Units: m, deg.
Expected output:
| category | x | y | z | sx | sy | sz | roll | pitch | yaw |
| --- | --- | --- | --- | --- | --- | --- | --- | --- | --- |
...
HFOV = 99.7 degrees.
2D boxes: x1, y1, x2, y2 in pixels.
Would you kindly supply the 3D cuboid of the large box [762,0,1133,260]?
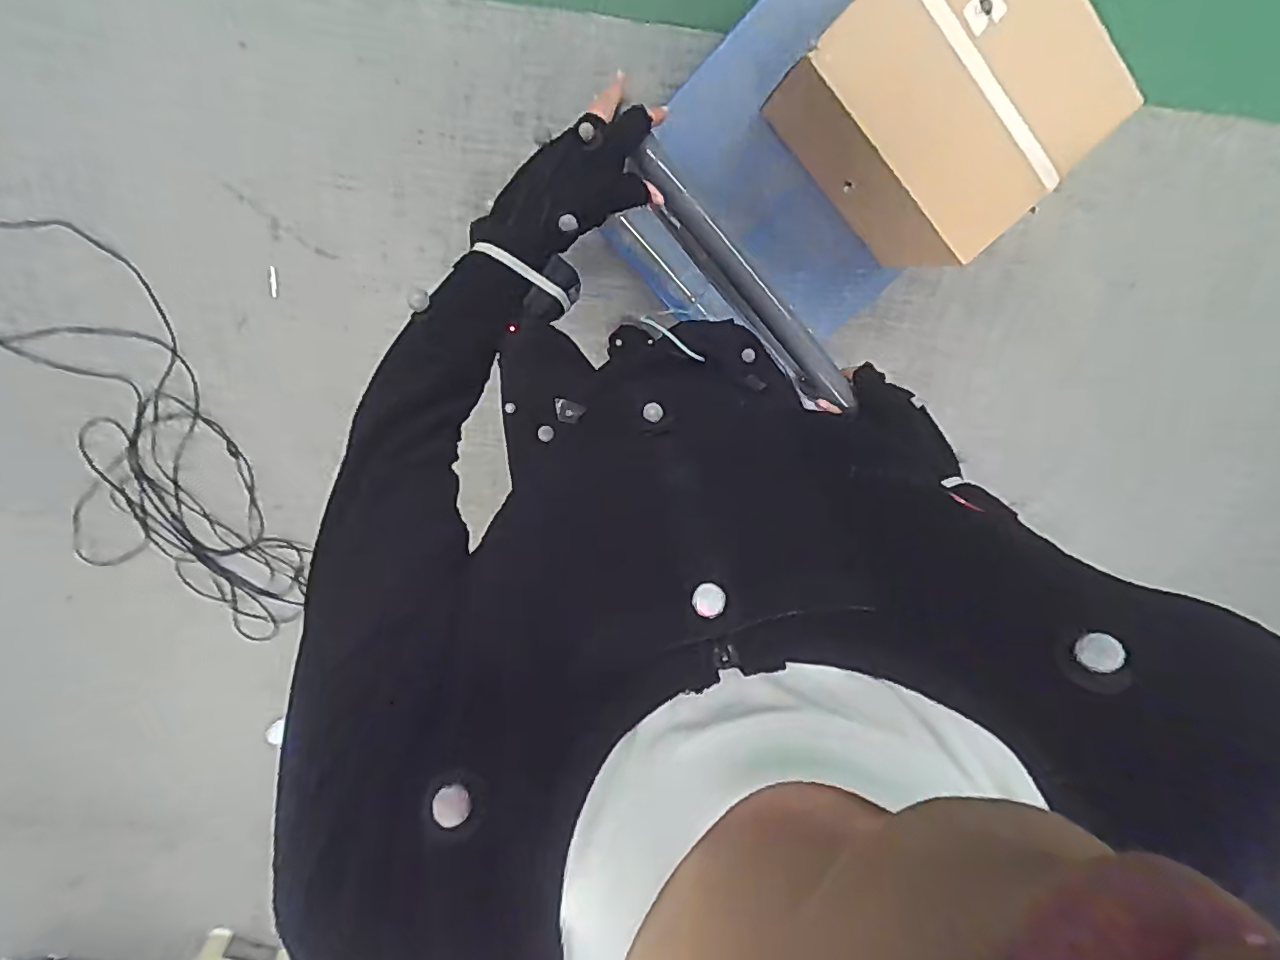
| category | x | y | z | sx | sy | sz | roll | pitch | yaw |
| --- | --- | --- | --- | --- | --- | --- | --- | --- | --- |
| large box | 0.479 | -0.637 | 0.923 | 0.408 | 0.320 | 0.320 | 41 | 105 | -14 |
